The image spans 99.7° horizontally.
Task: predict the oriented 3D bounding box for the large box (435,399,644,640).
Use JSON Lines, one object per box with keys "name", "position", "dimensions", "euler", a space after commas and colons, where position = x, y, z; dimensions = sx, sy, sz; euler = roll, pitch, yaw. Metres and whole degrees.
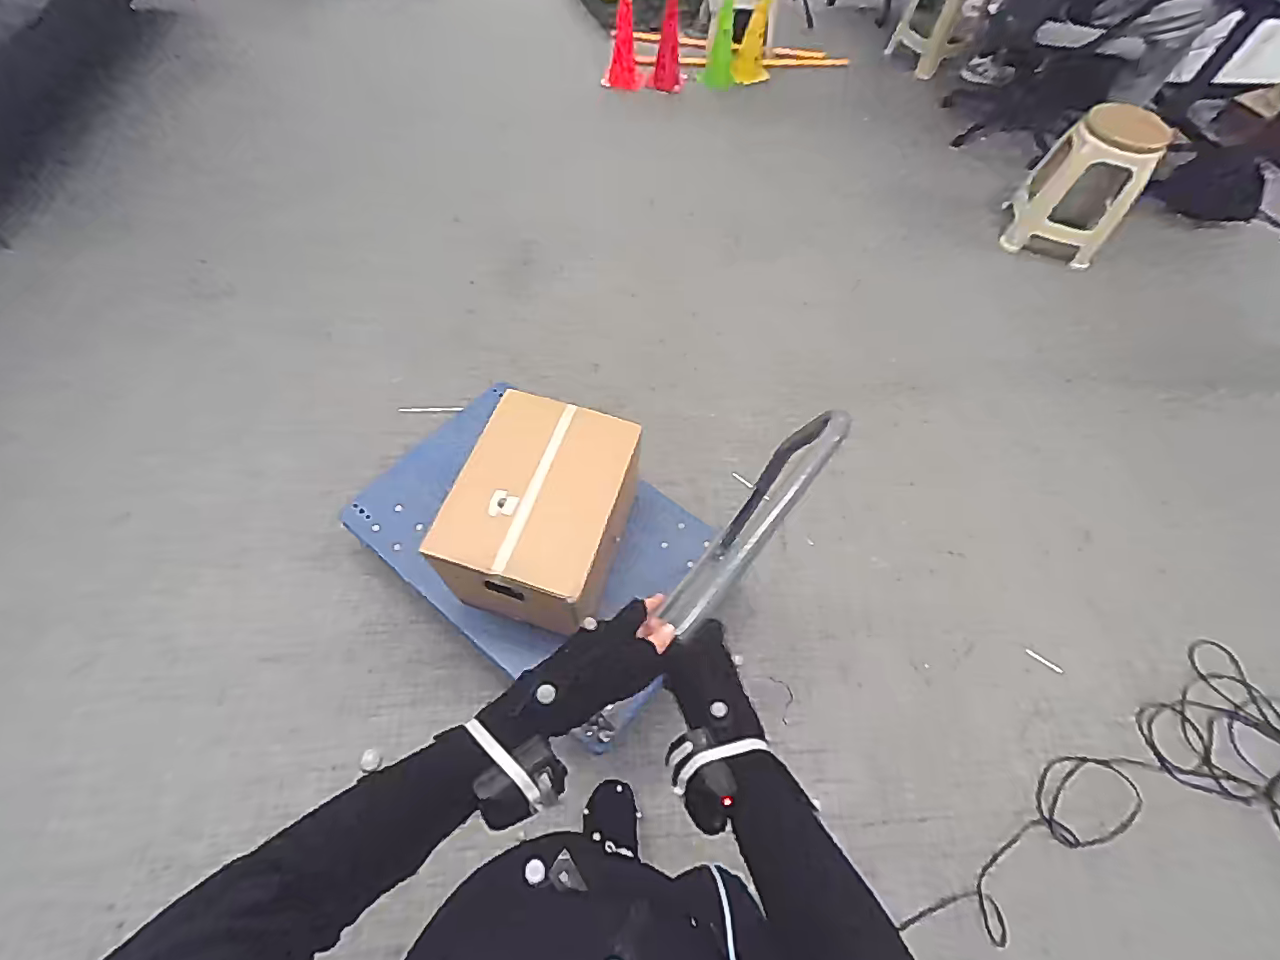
{"name": "large box", "position": [-0.195, 0.095, 1.215], "dimensions": [0.320, 0.320, 0.408], "euler": [15, 62, 6]}
